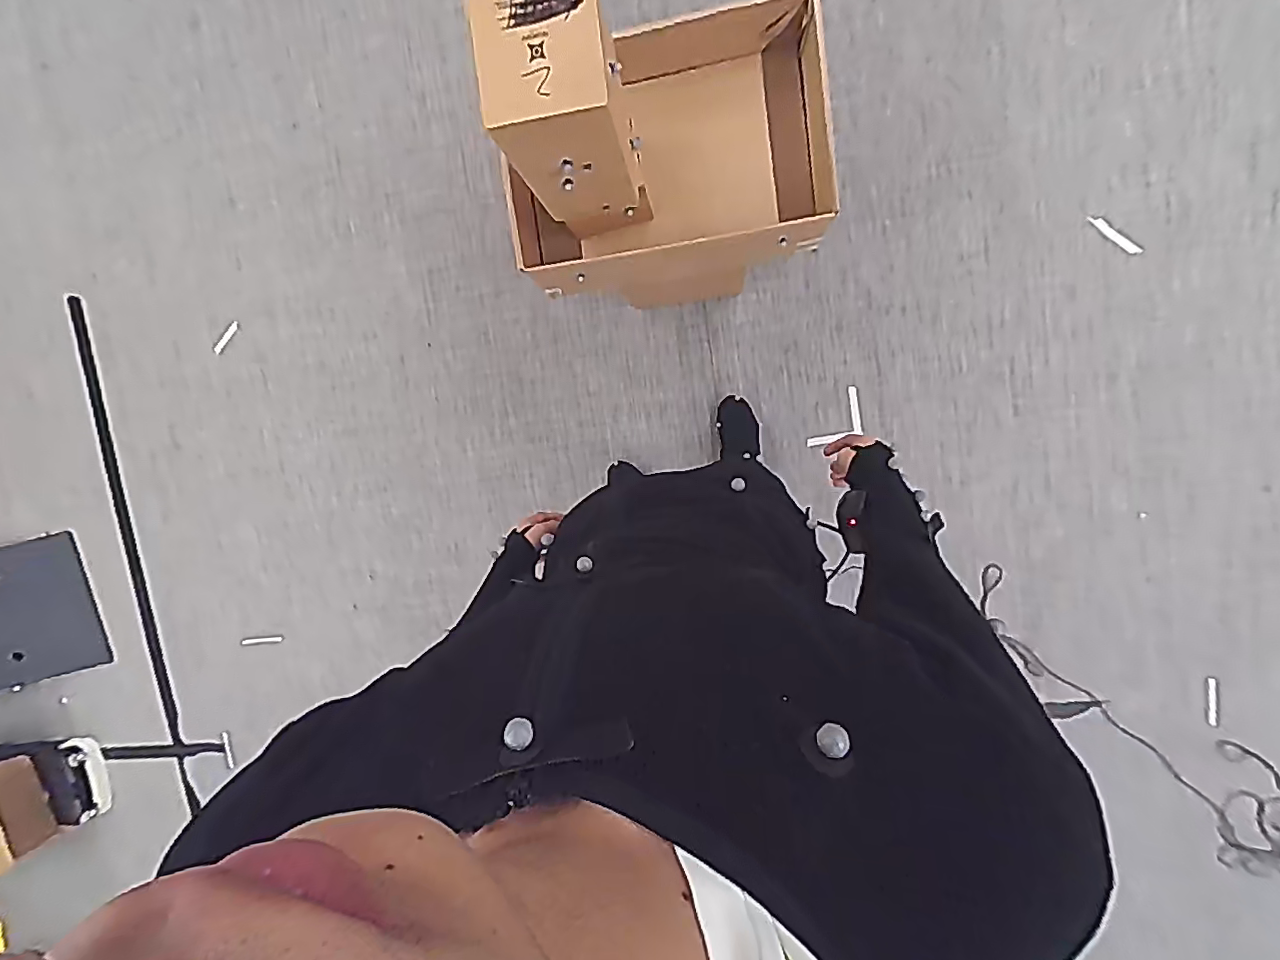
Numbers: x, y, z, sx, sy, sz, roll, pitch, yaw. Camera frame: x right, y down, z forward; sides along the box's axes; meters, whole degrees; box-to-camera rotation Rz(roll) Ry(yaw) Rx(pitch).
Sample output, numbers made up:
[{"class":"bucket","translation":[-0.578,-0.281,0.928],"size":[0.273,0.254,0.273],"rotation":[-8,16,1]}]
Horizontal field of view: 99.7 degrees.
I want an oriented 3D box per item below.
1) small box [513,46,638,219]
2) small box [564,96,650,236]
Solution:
[{"class":"small box","translation":[-0.100,-0.574,0.916],"size":[0.168,0.176,0.179],"rotation":[-6,94,8]},{"class":"small box","translation":[-0.081,-0.612,1.075],"size":[0.179,0.176,0.168],"rotation":[-12,94,9]}]
